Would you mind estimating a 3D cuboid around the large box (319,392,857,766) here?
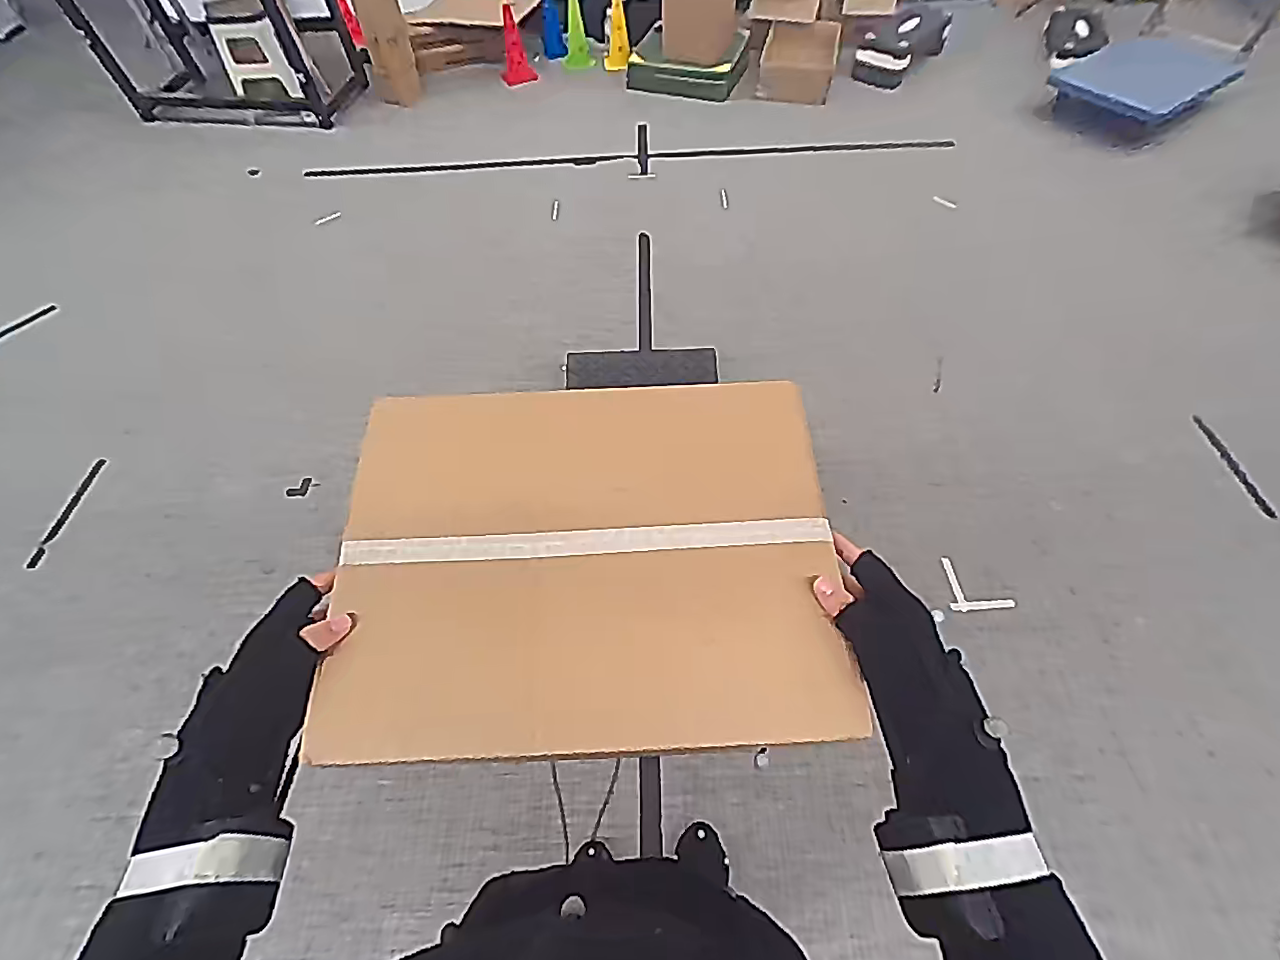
[{"bbox_3d":[-0.042,0.124,0.593,0.408,0.320,0.320,-2,63,-1],"label":"large box"}]
